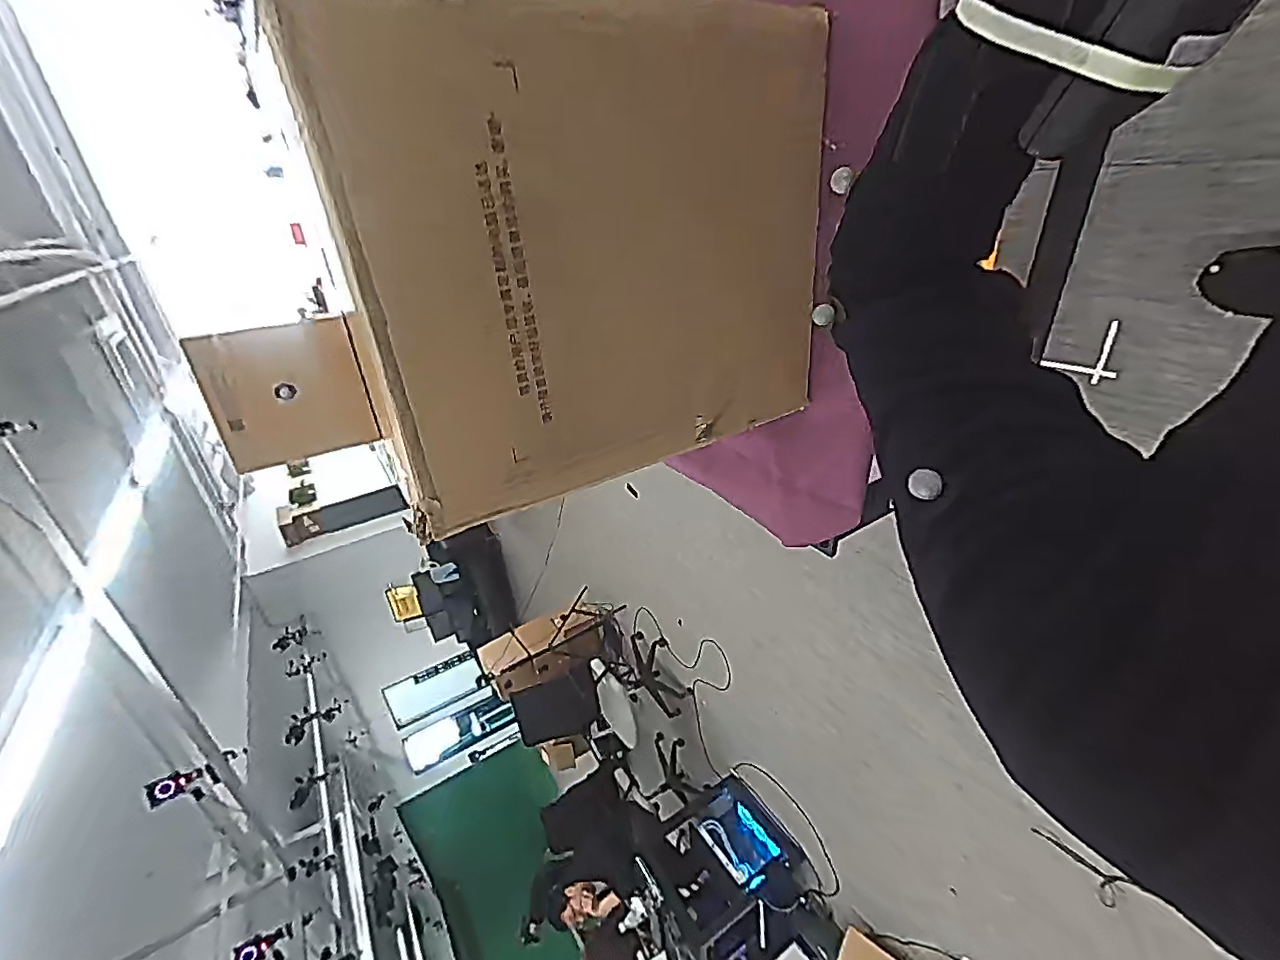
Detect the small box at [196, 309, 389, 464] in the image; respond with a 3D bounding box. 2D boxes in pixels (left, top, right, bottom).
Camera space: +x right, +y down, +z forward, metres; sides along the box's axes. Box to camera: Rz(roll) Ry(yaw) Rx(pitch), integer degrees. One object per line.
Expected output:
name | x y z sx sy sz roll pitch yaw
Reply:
small box | -0.462 -0.133 0.729 0.179 0.176 0.168 27 130 53
